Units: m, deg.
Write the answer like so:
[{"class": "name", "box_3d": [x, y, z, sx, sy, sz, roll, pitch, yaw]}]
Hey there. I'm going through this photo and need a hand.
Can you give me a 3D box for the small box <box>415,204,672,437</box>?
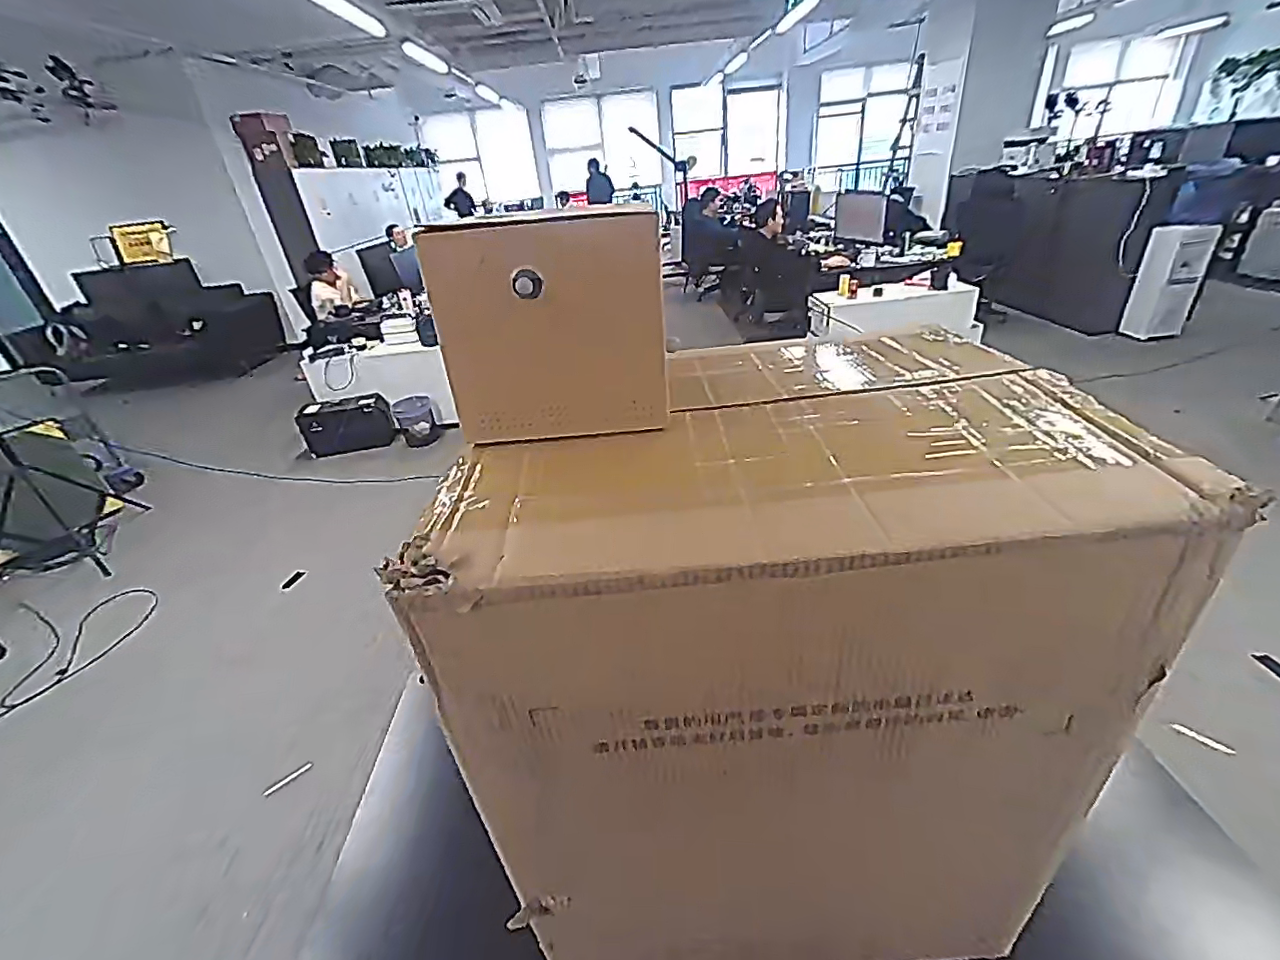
[{"class": "small box", "box_3d": [-0.068, -0.145, 0.484, 0.179, 0.176, 0.168, -4, 28, 1]}]
